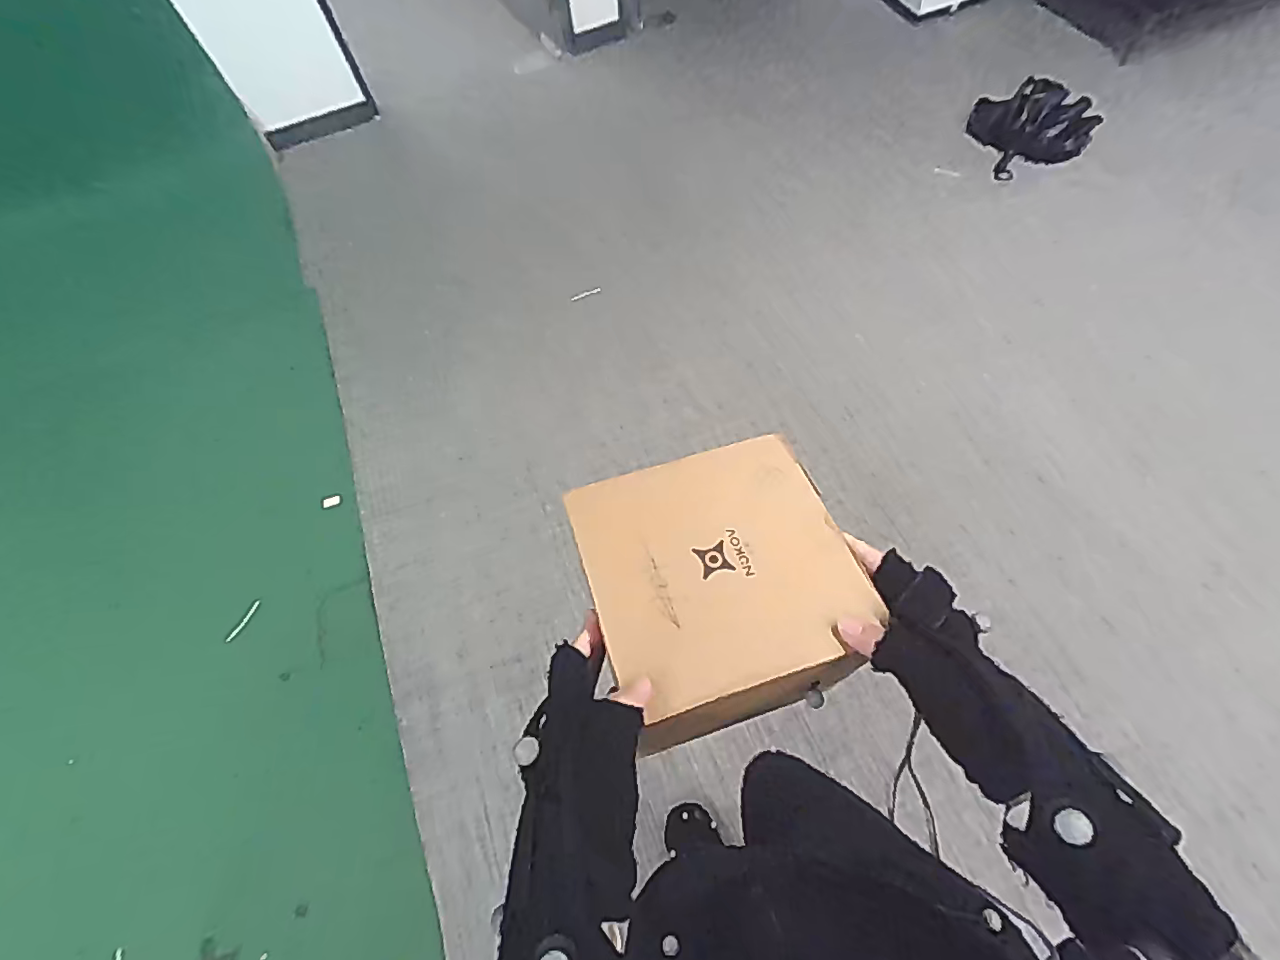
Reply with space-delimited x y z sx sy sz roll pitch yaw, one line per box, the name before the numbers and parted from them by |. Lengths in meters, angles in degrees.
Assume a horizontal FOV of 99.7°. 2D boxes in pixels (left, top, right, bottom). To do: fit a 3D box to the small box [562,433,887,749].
small box | 0.050 0.094 0.430 0.179 0.176 0.168 -17 58 -8
